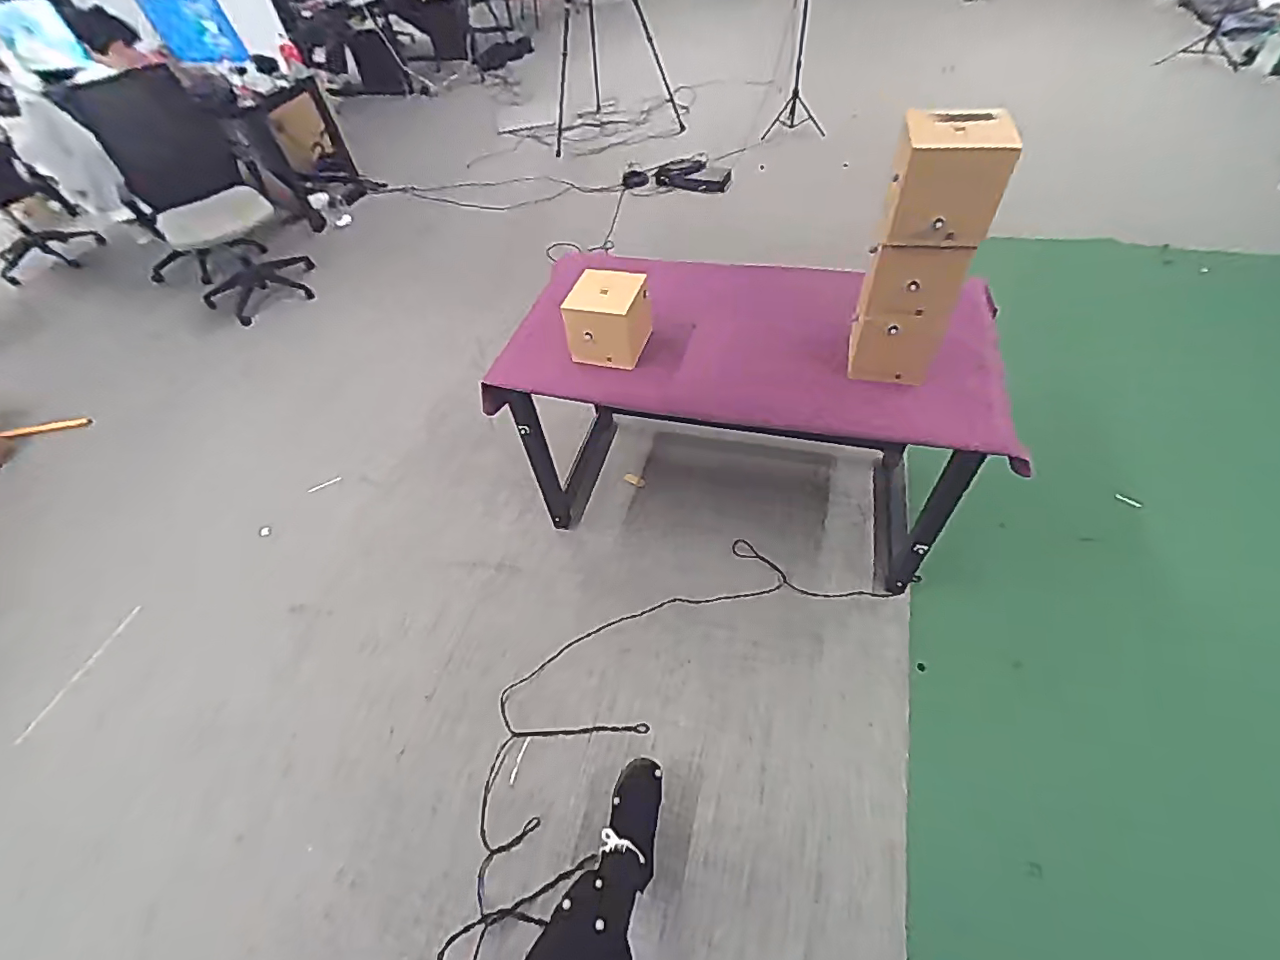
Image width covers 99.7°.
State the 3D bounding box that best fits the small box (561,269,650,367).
[{"bbox_3d":[-0.076,-0.405,1.357,0.168,0.176,0.179,10,52,15],"label":"small box"}]

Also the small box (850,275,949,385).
[{"bbox_3d":[0.579,-0.342,1.228,0.168,0.176,0.179,8,51,14],"label":"small box"}]

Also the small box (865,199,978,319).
[{"bbox_3d":[0.564,-0.448,1.102,0.168,0.176,0.179,10,52,14],"label":"small box"}]
